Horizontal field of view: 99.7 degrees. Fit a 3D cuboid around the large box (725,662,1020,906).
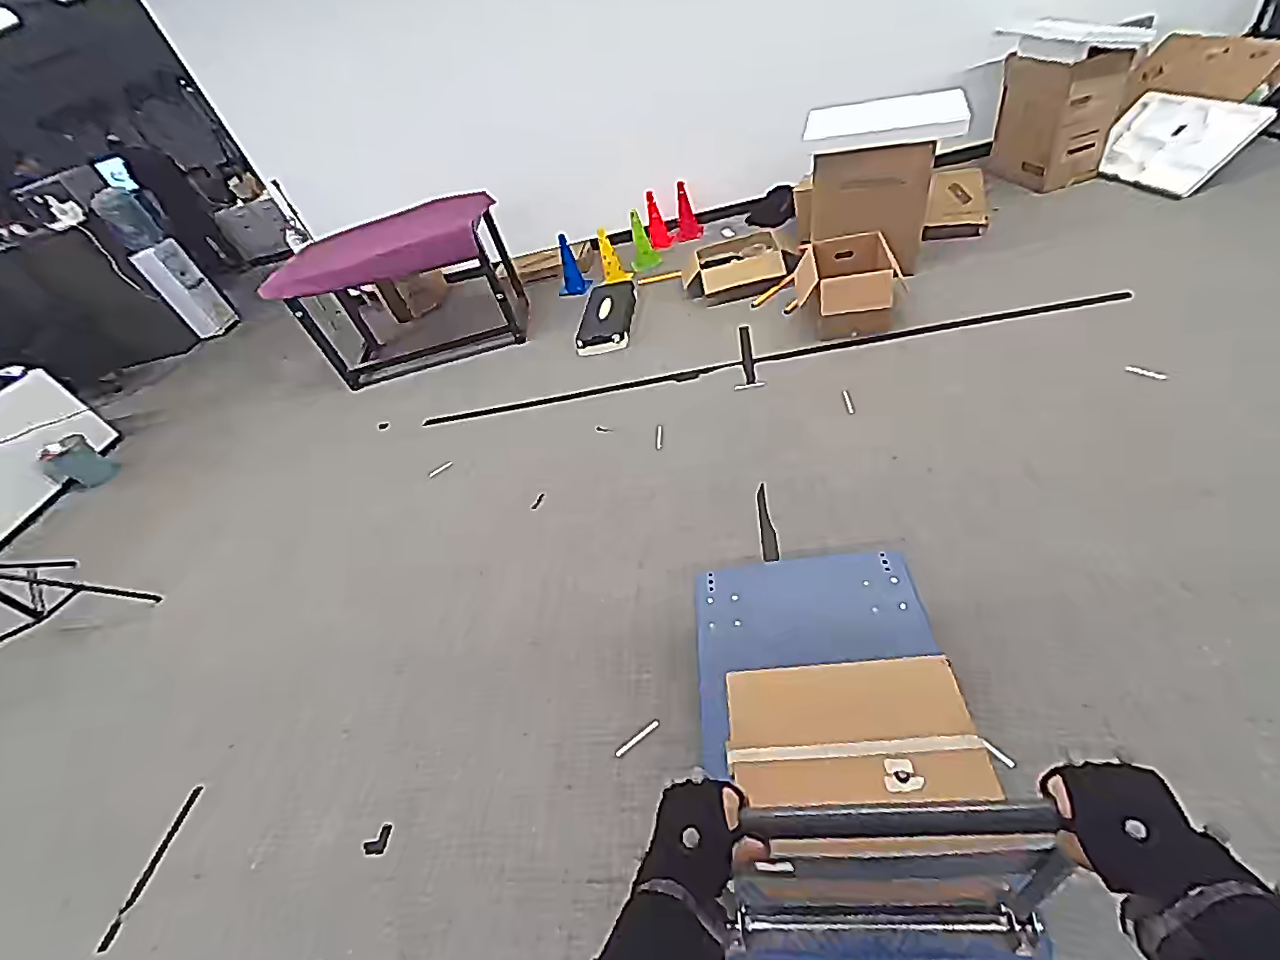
[{"bbox_3d":[0.387,0.572,1.008,0.408,0.320,0.320,-8,43,10],"label":"large box"}]
